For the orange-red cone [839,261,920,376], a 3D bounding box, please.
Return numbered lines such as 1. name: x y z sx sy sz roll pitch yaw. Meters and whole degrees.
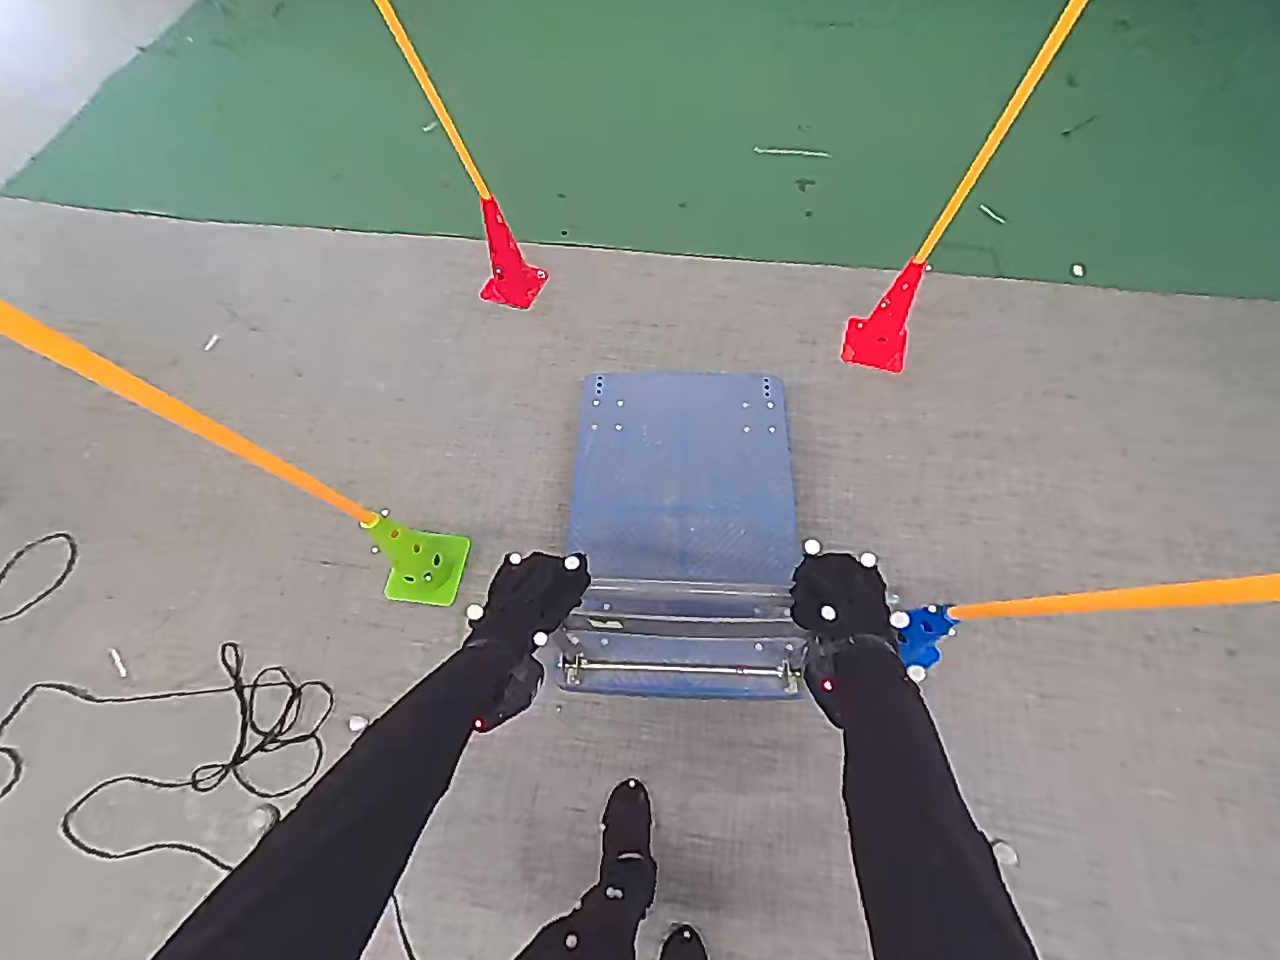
1. orange-red cone: 0.774 -0.519 1.668 0.198 0.360 0.199 16 65 11
